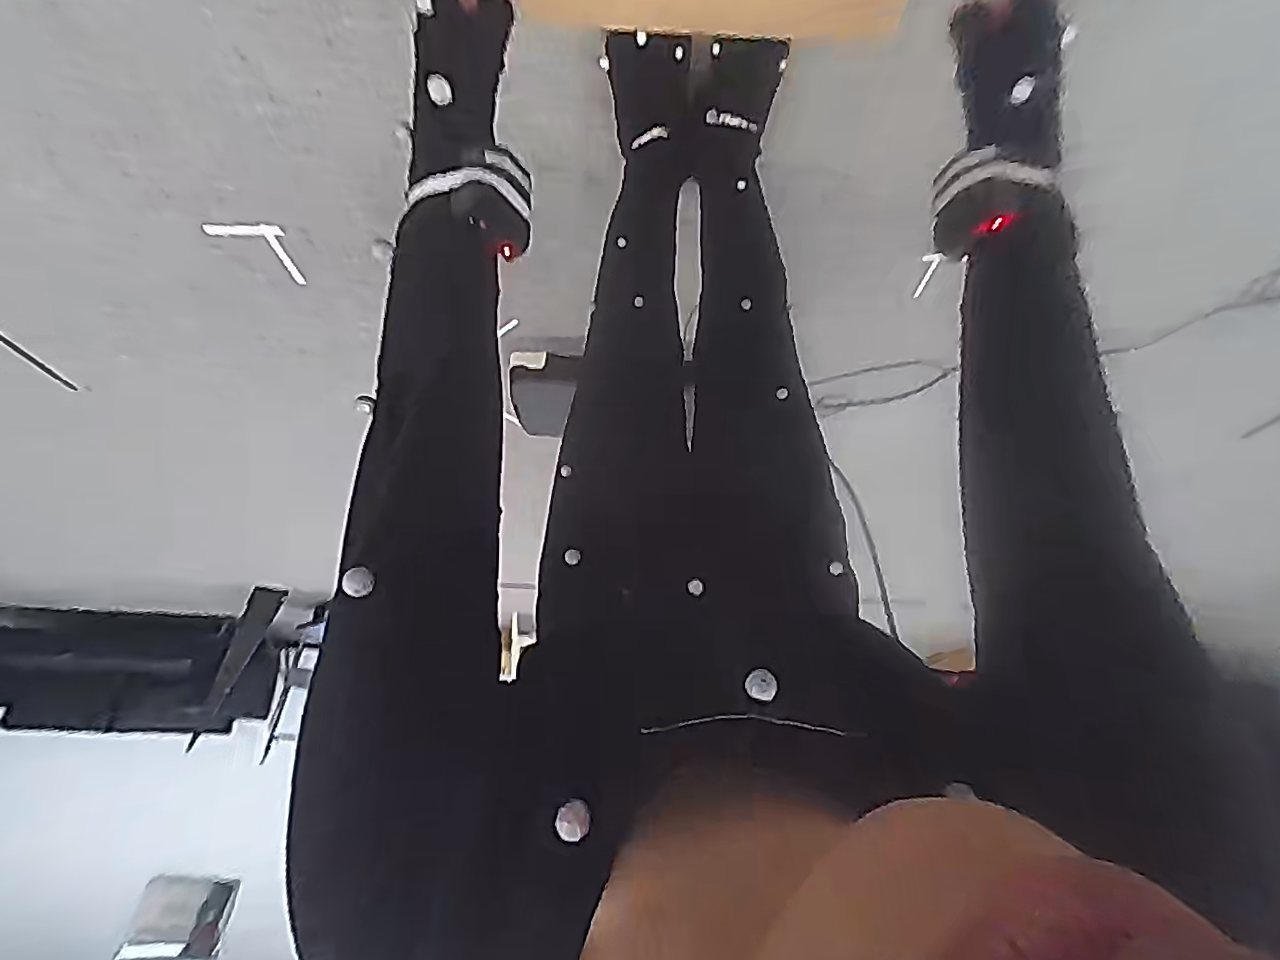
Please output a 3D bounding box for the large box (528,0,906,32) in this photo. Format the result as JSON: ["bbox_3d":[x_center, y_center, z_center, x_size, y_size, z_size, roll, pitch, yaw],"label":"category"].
[{"bbox_3d":[0.081,-0.694,0.527,0.408,0.320,0.320,2,151,-1],"label":"large box"}]
